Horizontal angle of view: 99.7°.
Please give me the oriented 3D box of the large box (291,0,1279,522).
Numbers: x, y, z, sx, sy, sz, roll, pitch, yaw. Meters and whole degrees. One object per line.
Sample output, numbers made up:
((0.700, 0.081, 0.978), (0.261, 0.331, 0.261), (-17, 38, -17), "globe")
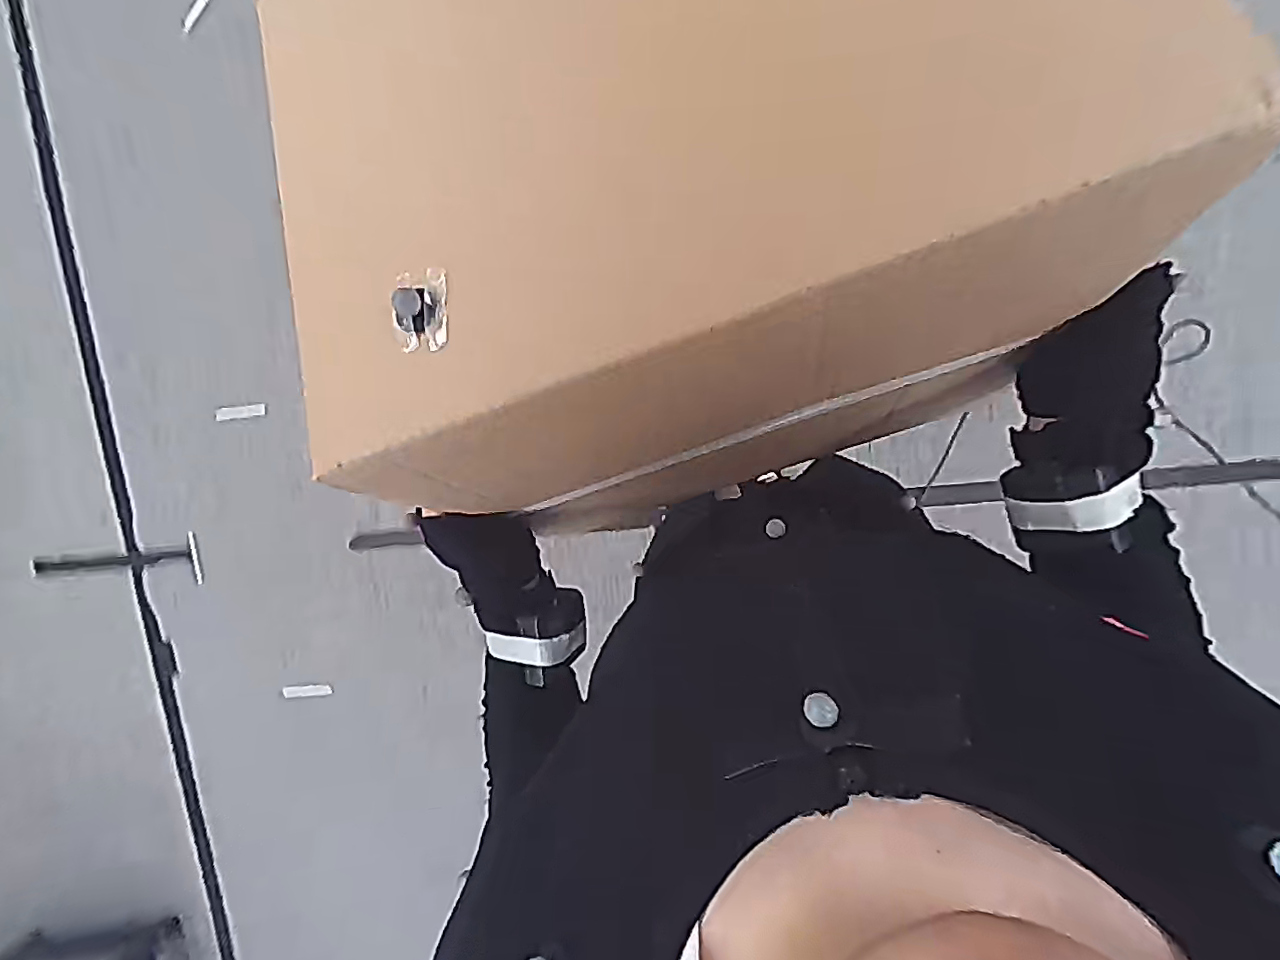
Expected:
((0.036, -0.186, 0.402), (0.408, 0.320, 0.320), (-17, 76, 10), "large box")
